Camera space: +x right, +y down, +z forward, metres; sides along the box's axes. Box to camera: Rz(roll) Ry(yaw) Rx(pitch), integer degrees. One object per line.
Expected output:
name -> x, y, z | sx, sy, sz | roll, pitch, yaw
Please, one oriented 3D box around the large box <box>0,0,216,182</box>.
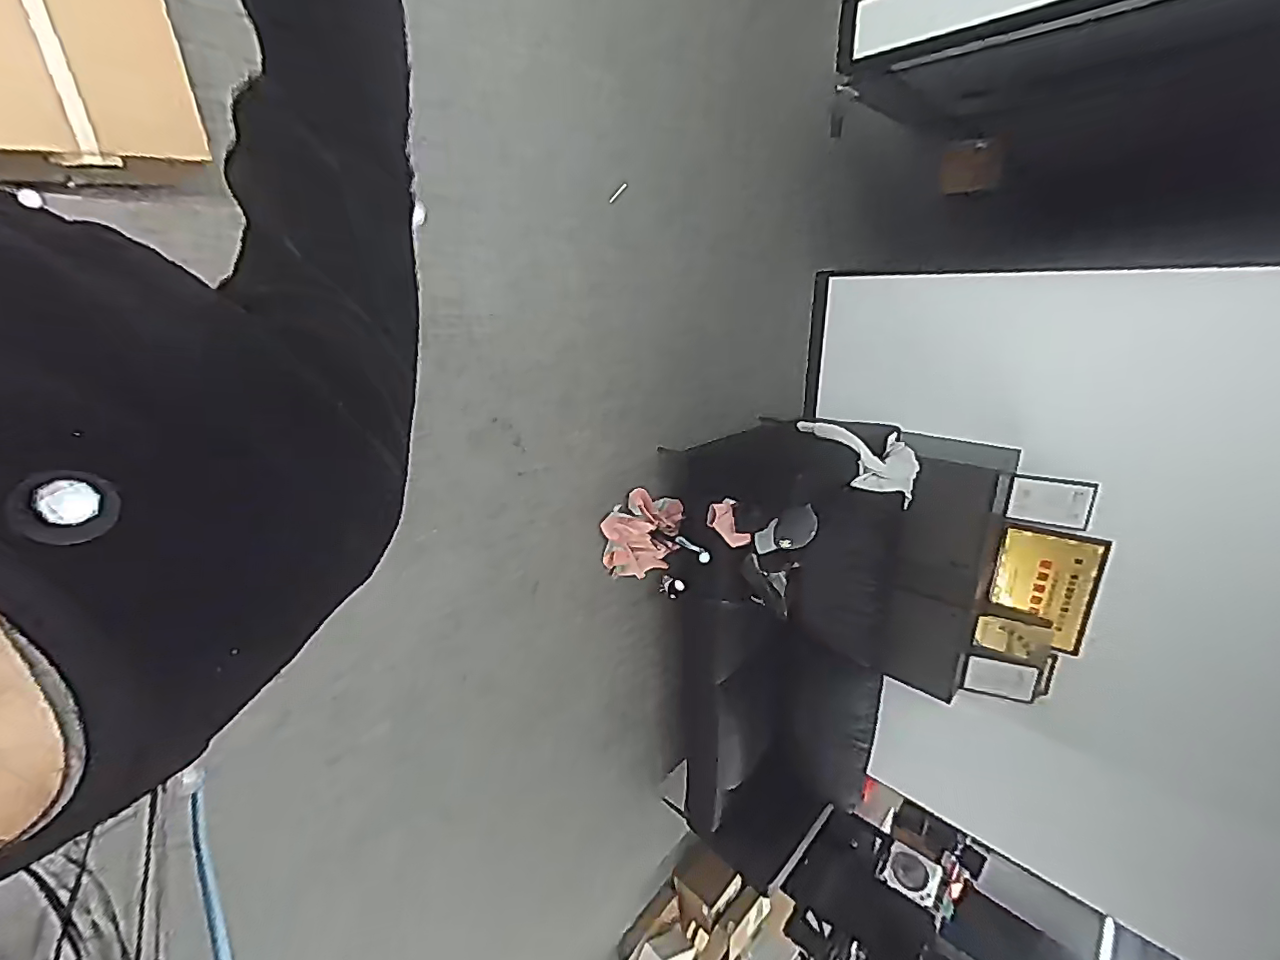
large box -> -0.938, -0.711, 0.840 | 0.320, 0.320, 0.408 | -25, 119, -40
